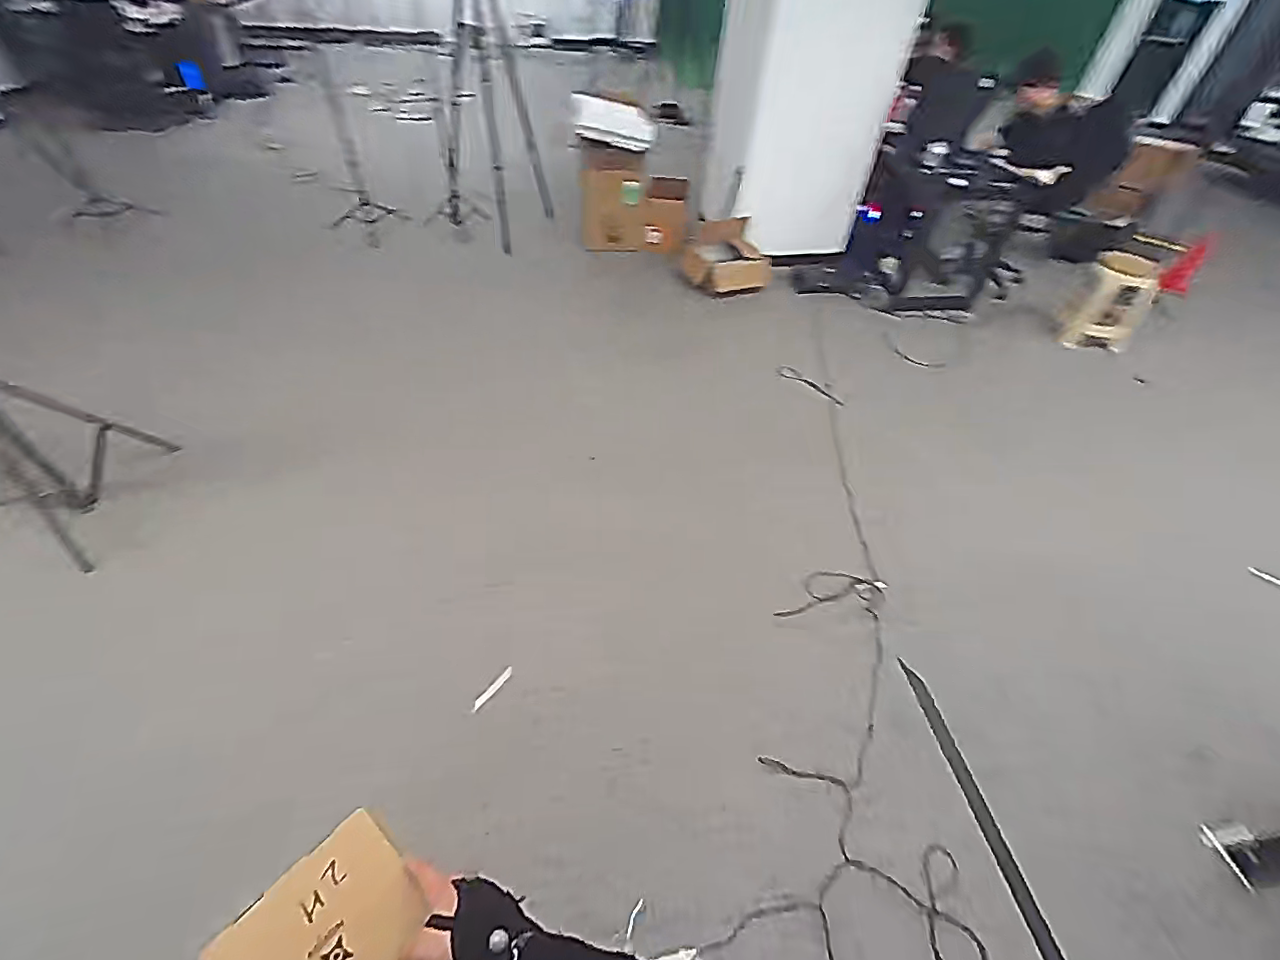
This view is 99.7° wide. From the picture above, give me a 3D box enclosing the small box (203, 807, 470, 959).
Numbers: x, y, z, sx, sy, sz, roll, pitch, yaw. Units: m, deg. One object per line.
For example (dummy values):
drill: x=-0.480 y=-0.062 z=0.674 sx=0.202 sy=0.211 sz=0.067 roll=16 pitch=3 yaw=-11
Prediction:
small box: x=-0.302 y=0.494 z=0.577 sx=0.179 sy=0.176 sz=0.168 roll=39 pitch=55 yaw=20
